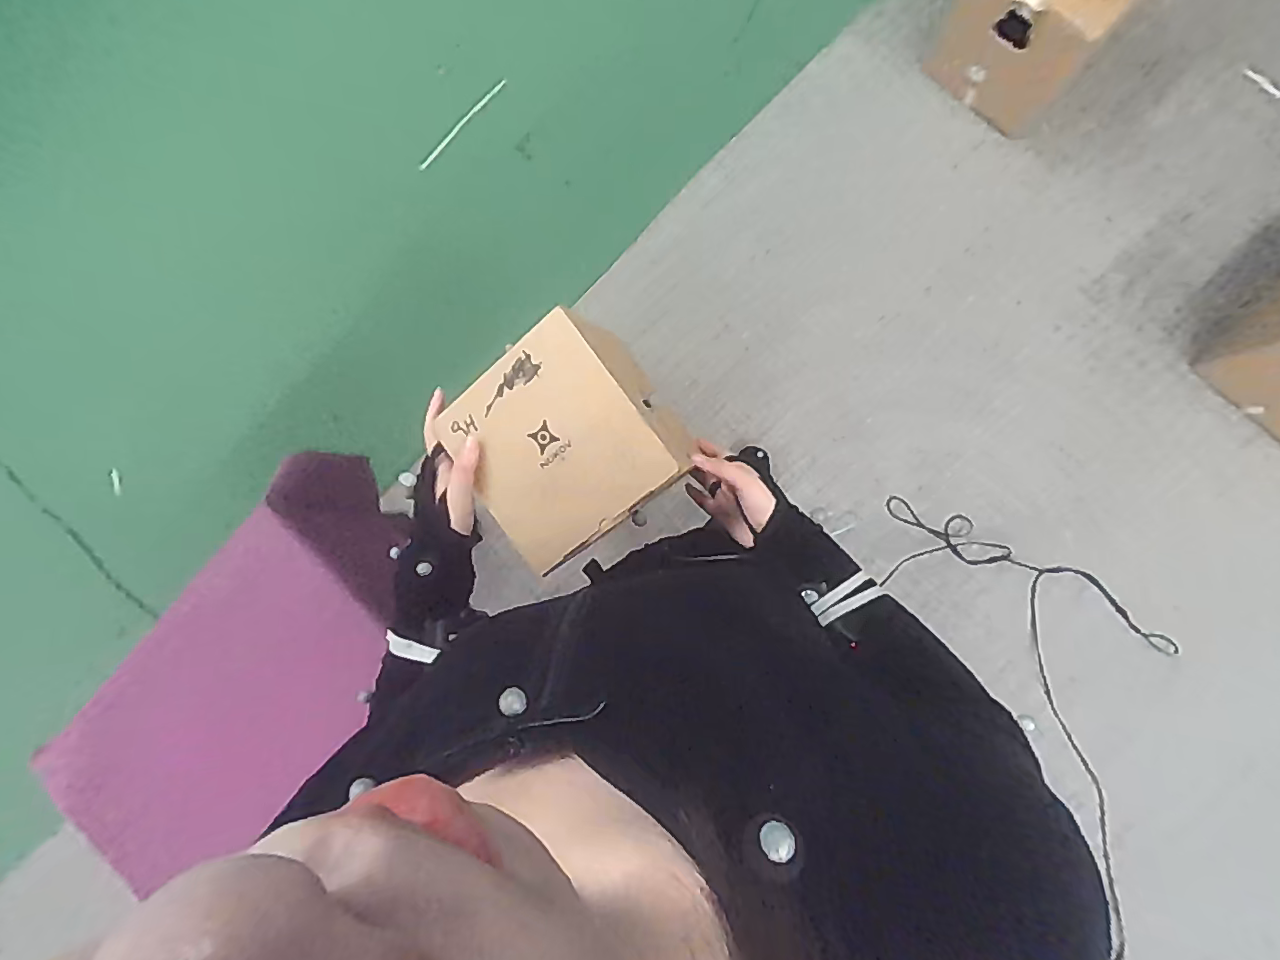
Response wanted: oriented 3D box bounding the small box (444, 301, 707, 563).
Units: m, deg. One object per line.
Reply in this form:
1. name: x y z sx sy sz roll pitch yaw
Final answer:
1. small box: -0.049 -0.049 0.545 0.168 0.176 0.179 -36 88 15

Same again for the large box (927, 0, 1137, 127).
1. large box: 0.984 -1.167 1.273 0.320 0.320 0.408 45 93 6
